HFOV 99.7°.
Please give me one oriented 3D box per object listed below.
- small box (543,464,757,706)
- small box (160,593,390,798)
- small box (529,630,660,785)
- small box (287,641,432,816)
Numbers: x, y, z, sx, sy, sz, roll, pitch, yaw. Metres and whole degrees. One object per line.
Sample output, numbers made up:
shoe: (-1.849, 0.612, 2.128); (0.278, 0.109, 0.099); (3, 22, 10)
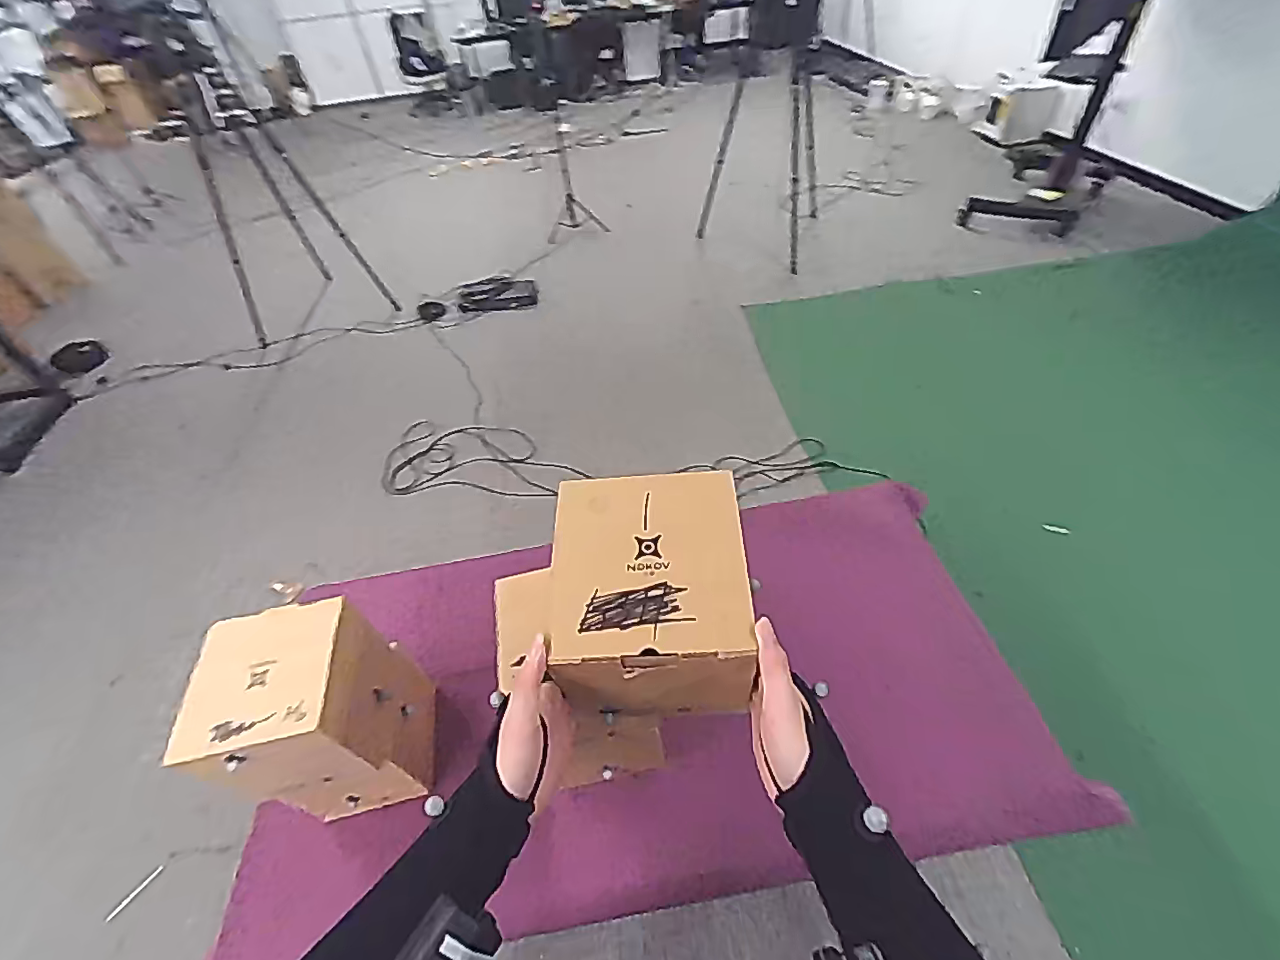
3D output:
small box: (0.017, 0.107, 0.514); (0.168, 0.176, 0.179); (-3, 51, 5)
small box: (-0.442, 0.277, 0.695); (0.168, 0.176, 0.179); (-12, 47, -4)
small box: (-0.068, 0.332, 0.821); (0.168, 0.176, 0.179); (-12, 47, -3)
small box: (-0.430, 0.379, 0.824); (0.168, 0.176, 0.179); (-13, 48, -6)
